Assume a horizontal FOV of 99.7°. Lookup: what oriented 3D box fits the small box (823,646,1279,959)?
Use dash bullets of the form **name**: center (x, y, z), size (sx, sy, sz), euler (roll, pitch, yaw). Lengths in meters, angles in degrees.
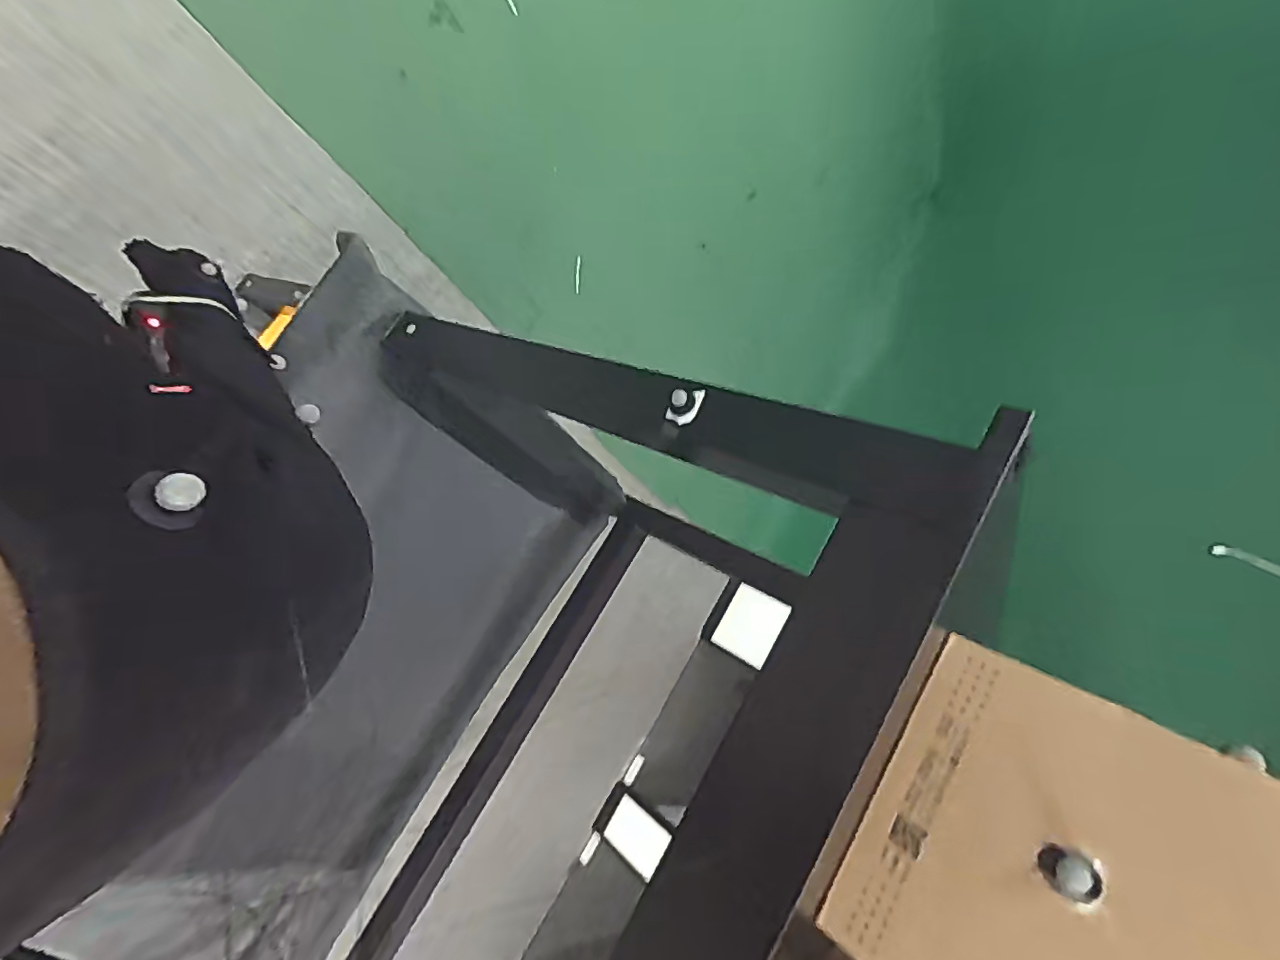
- **small box**: center (0.221, 0.215, 0.297), size (0.168, 0.176, 0.179), euler (-57, 140, -10)
